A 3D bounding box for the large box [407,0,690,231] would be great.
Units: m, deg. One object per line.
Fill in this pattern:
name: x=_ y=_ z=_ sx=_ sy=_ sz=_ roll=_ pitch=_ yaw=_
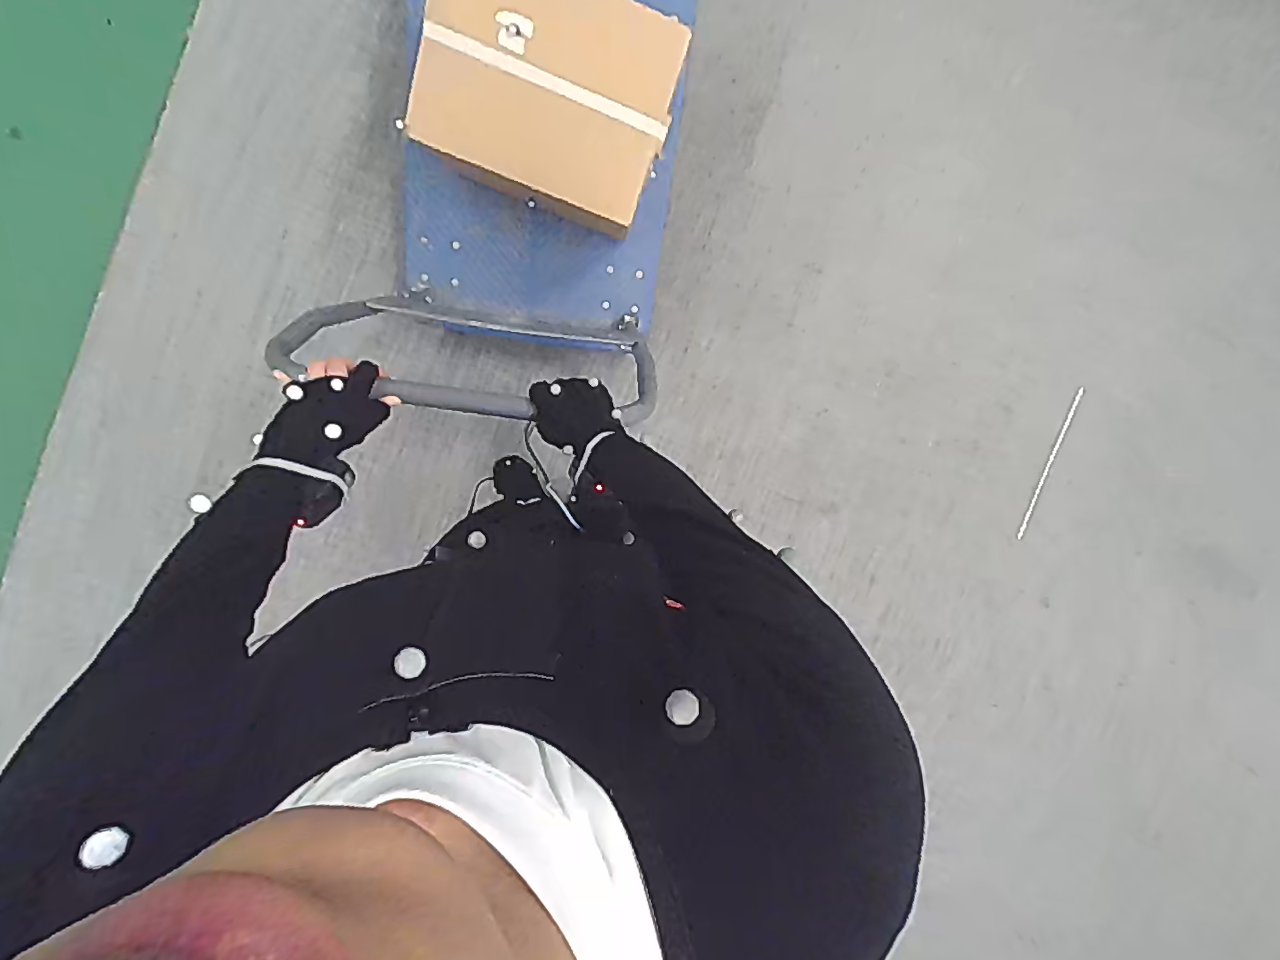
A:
large box: x=-0.158 y=-0.707 z=1.024 sx=0.408 sy=0.320 sz=0.320 roll=19 pitch=108 yaw=-9
